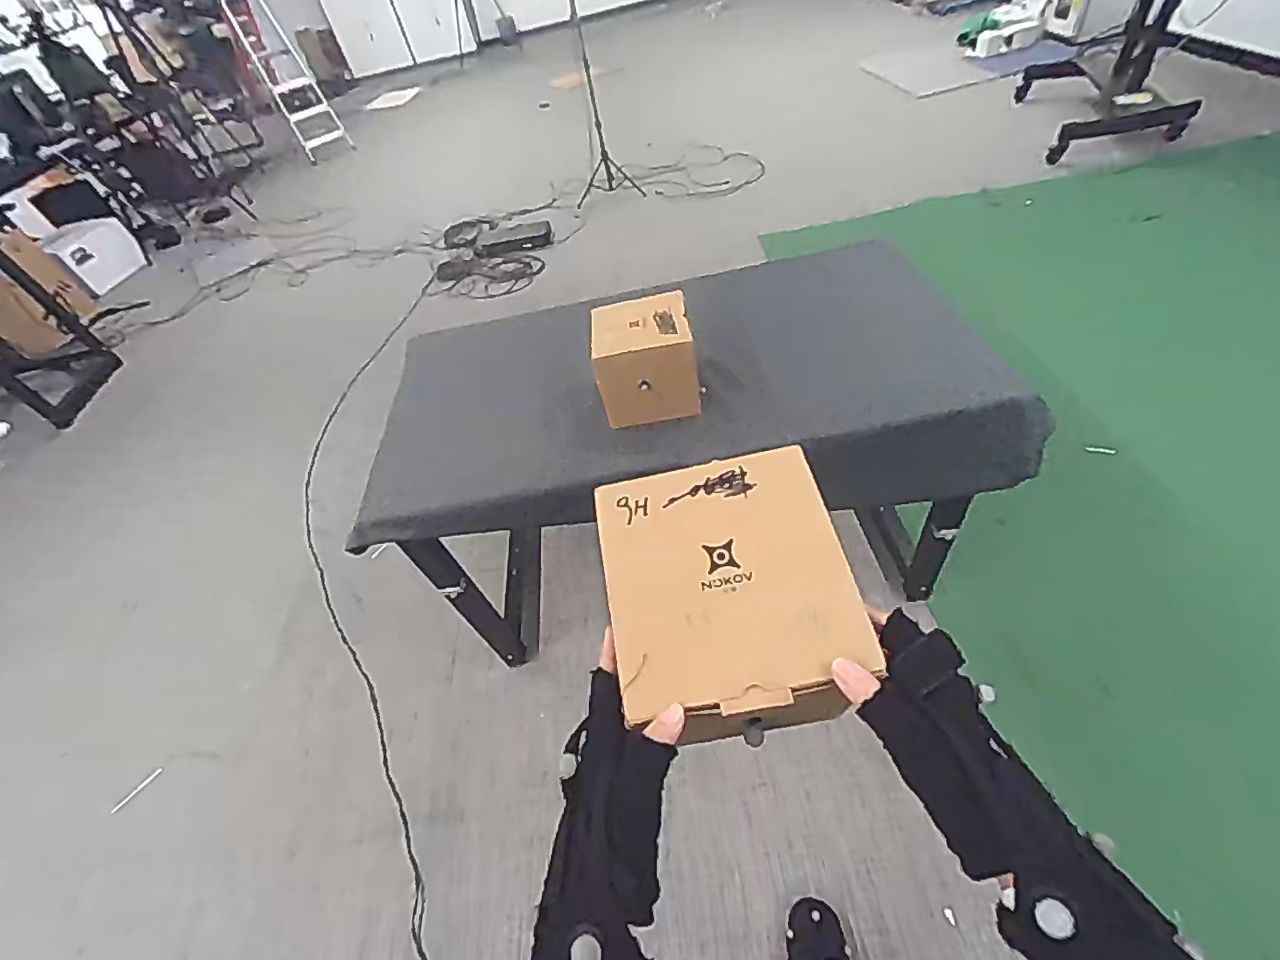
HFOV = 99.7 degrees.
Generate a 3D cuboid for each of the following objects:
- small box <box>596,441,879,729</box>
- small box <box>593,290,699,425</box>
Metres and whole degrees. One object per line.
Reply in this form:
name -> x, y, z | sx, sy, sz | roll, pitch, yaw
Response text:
small box -> 0.069, 0.098, 0.447 | 0.168, 0.176, 0.179 | -12, 59, 1
small box -> 0.015, -0.226, 1.017 | 0.179, 0.176, 0.168 | -9, 48, 6
